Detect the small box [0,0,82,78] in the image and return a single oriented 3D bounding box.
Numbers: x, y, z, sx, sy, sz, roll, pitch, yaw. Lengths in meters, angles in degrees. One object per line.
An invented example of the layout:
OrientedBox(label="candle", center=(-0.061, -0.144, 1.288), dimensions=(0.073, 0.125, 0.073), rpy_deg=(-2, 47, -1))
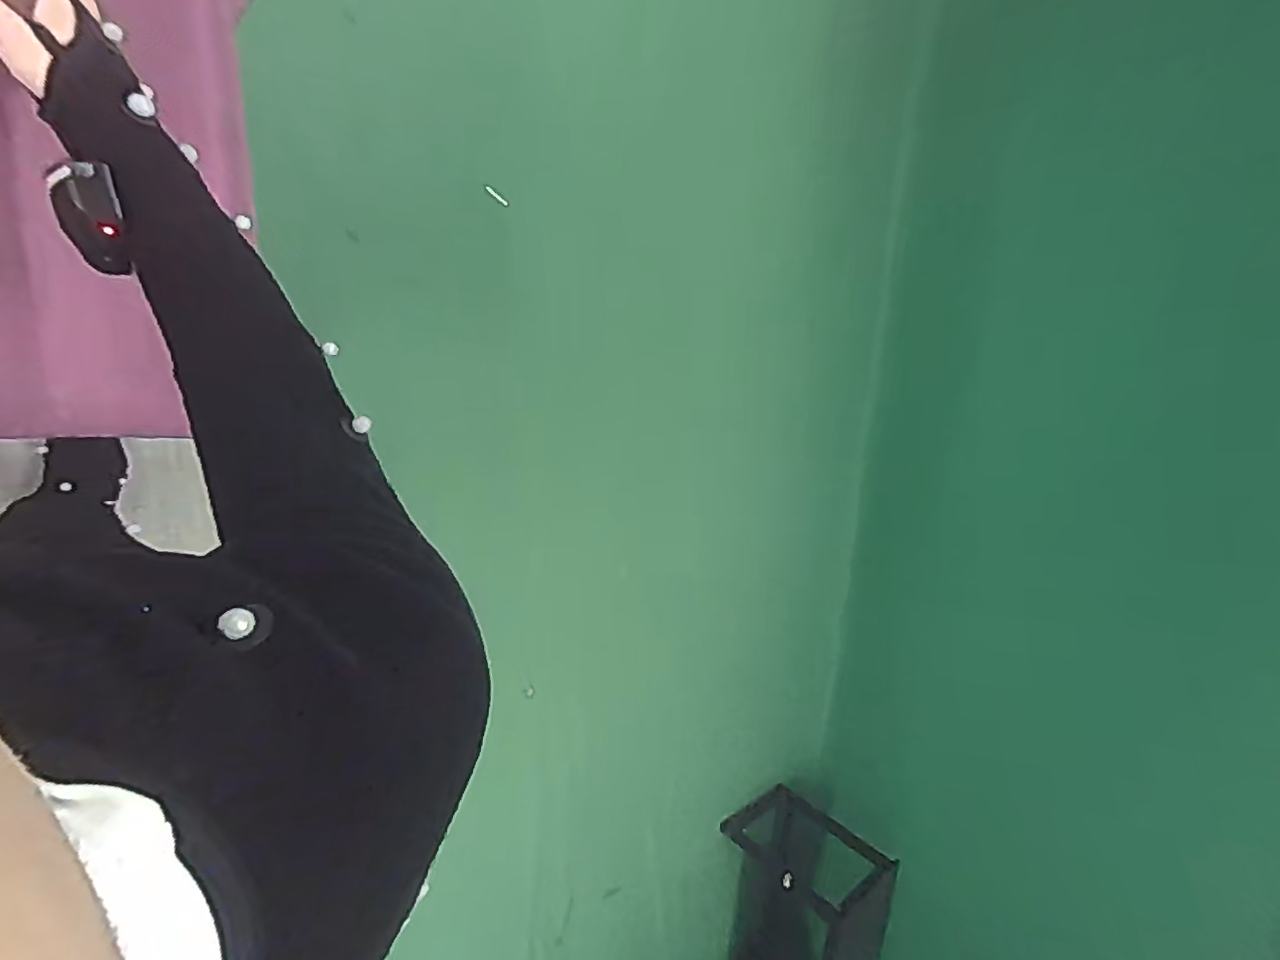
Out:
OrientedBox(label="small box", center=(-0.585, -0.480, 0.437), dimensions=(0.168, 0.176, 0.179), rpy_deg=(-6, 103, -40))
